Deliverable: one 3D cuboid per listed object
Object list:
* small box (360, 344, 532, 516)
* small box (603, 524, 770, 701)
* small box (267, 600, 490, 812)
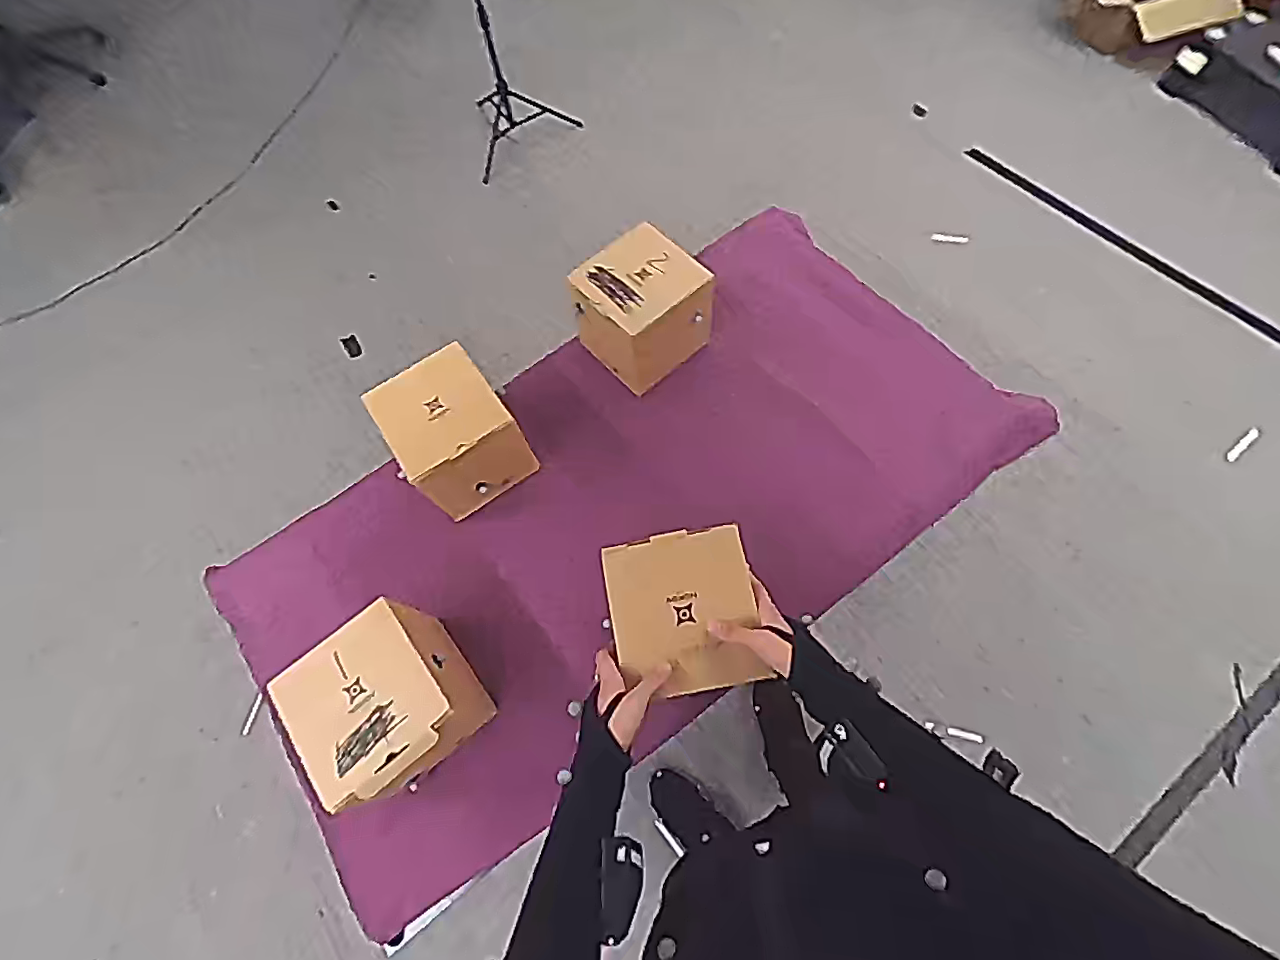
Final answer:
[{"bbox_3d":[-0.296,-0.071,0.854,0.168,0.176,0.179,-35,70,-11],"label":"small box"},{"bbox_3d":[0.051,0.170,0.684,0.168,0.176,0.179,-10,73,0],"label":"small box"},{"bbox_3d":[-0.327,0.287,0.709,0.168,0.176,0.179,-39,69,-12],"label":"small box"}]
